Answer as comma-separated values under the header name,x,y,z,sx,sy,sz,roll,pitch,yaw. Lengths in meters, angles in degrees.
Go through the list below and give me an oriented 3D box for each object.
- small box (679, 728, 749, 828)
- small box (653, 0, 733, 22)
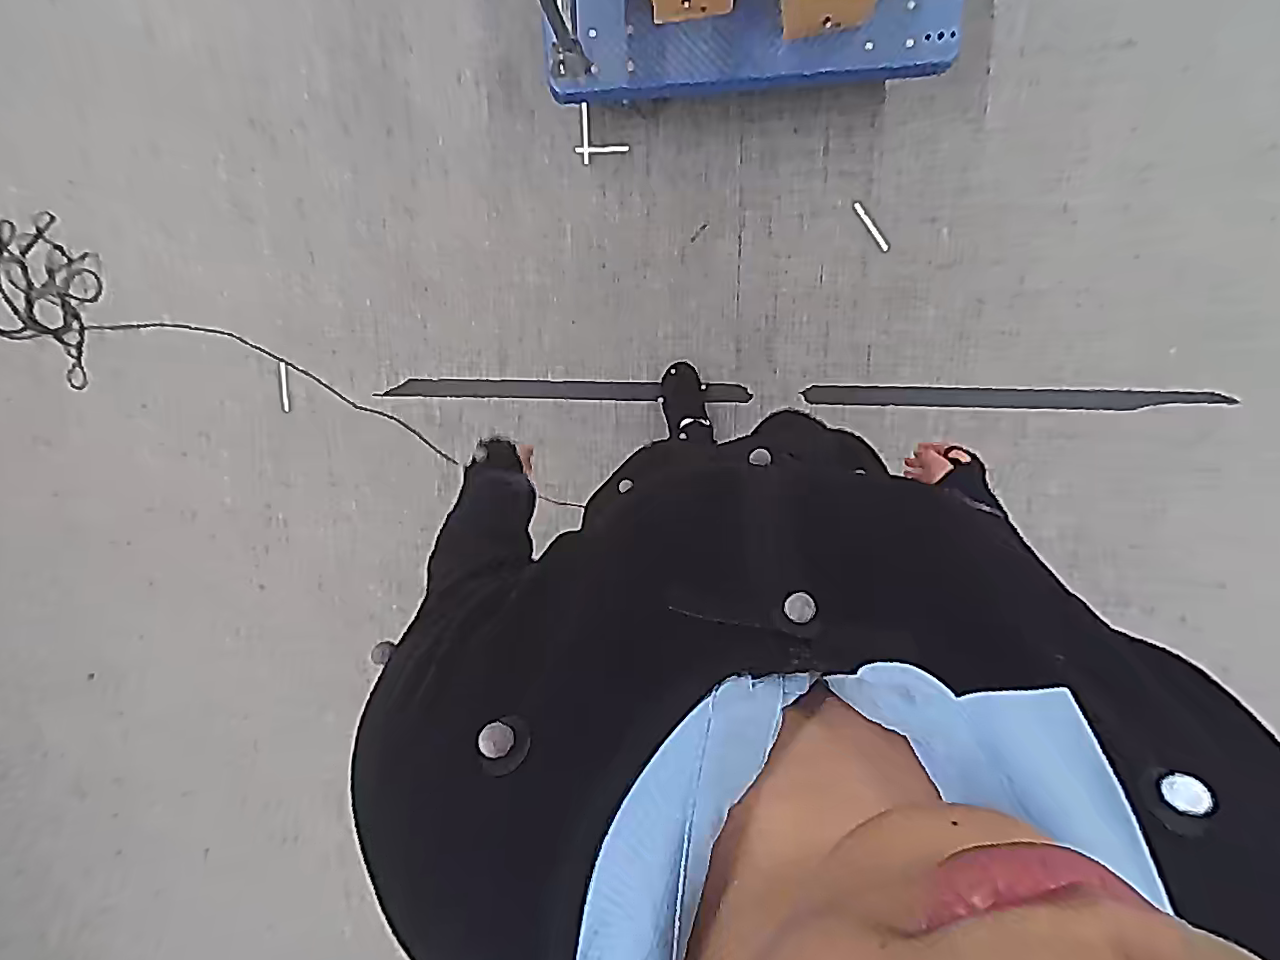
name,x,y,z,sx,sy,sz,roll,pitch,yaw
small box,0.206,0.837,1.527,0.168,0.176,0.179,-11,98,5
small box,0.099,-1.040,1.040,0.168,0.176,0.179,-4,100,5
